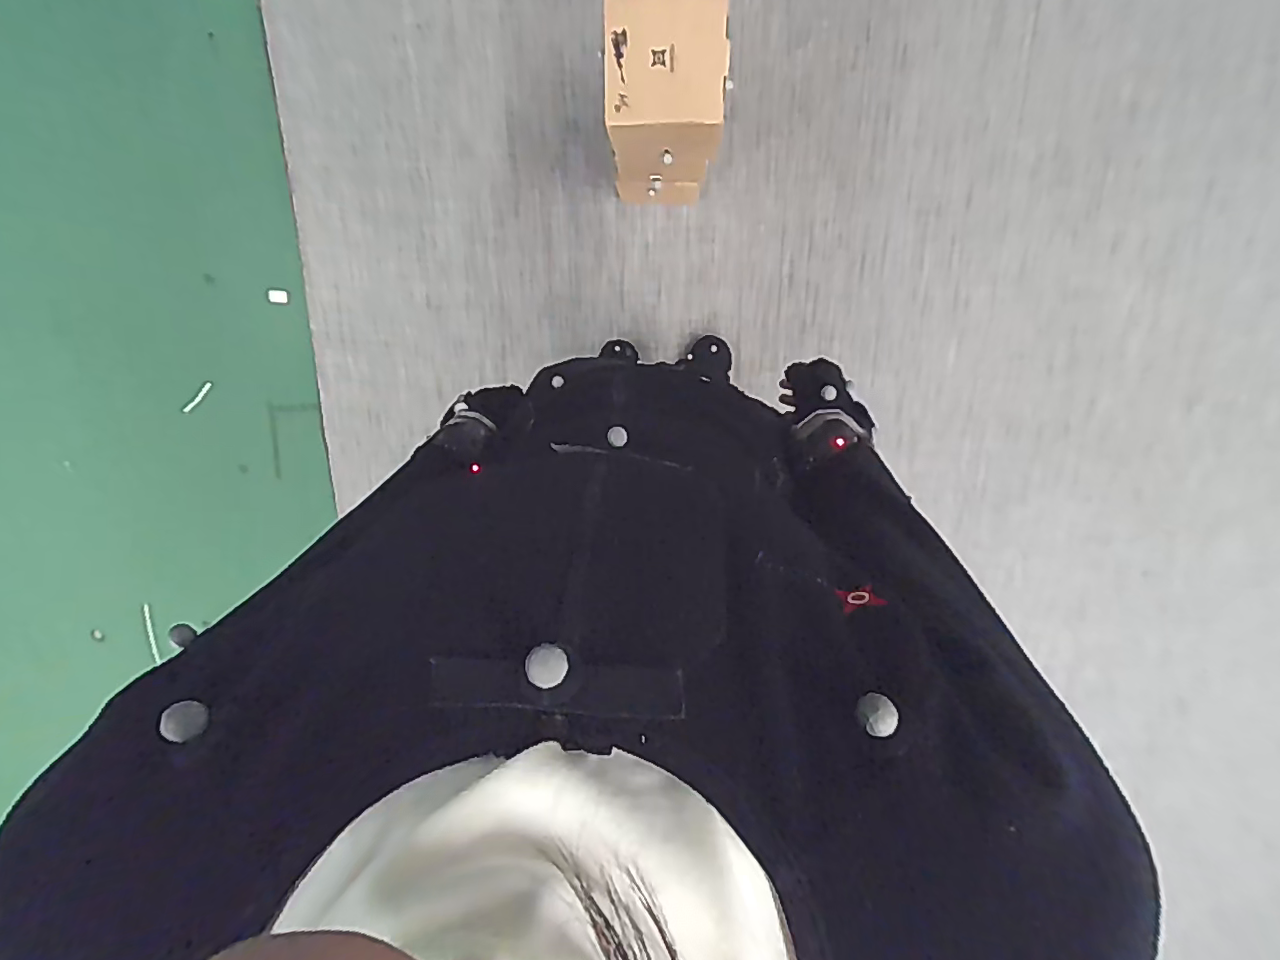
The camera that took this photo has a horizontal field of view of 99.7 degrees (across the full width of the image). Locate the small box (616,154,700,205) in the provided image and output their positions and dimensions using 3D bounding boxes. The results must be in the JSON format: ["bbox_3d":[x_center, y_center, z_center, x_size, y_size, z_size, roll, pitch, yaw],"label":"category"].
[{"bbox_3d":[0.046,-0.703,1.169,0.179,0.176,0.168,3,106,3],"label":"small box"}]

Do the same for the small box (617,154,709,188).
[{"bbox_3d":[0.048,-0.665,1.011,0.168,0.176,0.179,2,106,5],"label":"small box"}]

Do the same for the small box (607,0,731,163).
[{"bbox_3d":[0.044,-0.618,0.854,0.179,0.176,0.168,2,105,4],"label":"small box"}]
